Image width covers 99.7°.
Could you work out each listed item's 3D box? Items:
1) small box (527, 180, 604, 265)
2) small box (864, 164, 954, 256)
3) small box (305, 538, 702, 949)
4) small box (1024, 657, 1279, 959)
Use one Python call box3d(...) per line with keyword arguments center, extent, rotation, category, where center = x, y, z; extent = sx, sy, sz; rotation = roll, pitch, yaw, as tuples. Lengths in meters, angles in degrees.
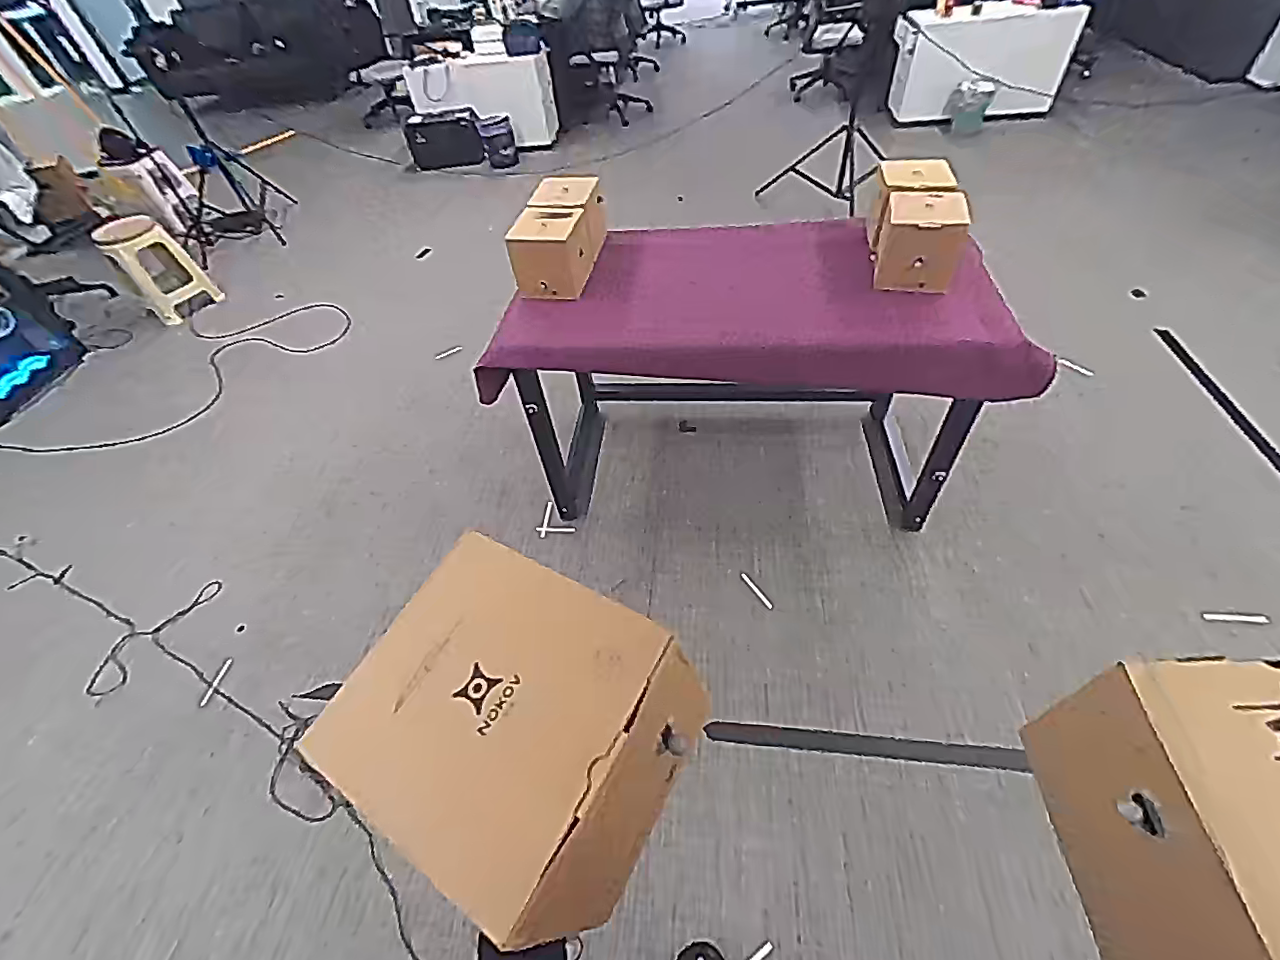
box3d(center=(-0.207, -0.745, 1.561), extent=(0.168, 0.176, 0.179), rotation=(5, 51, 11), category="small box")
box3d(center=(0.703, -0.717, 1.436), extent=(0.168, 0.176, 0.179), rotation=(5, 49, 10), category="small box")
box3d(center=(-0.072, 0.173, 0.381), extent=(0.179, 0.176, 0.168), rotation=(19, 61, 27), category="small box")
box3d(center=(0.379, 0.222, 0.329), extent=(0.168, 0.176, 0.179), rotation=(-5, 52, 9), category="small box")
